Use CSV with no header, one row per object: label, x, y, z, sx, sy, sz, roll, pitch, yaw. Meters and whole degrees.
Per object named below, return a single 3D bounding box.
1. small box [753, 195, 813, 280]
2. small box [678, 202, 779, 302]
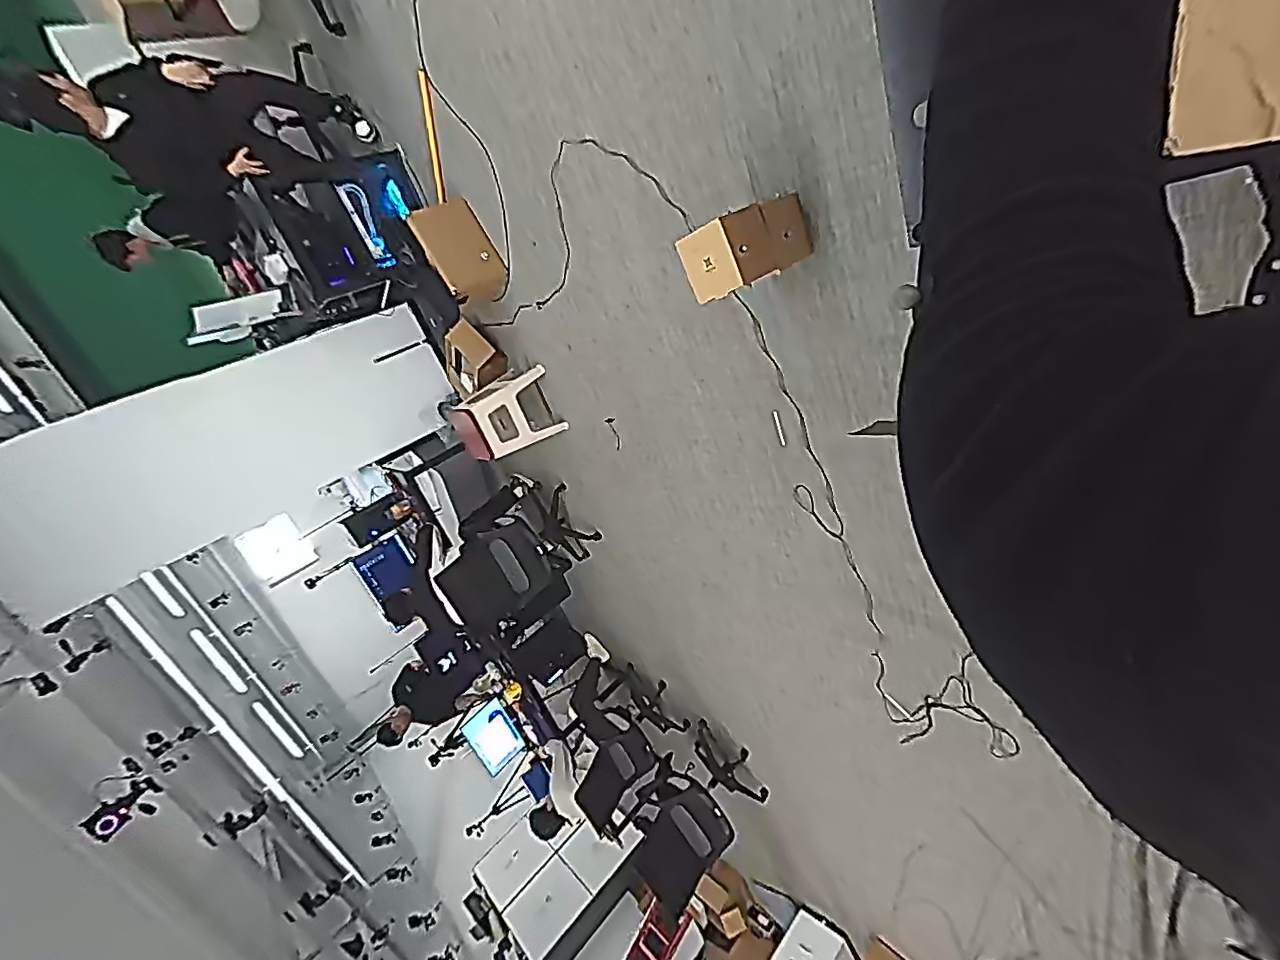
small box,0.353,-0.675,1.511,0.168,0.176,0.179,2,122,53
small box,0.237,-0.600,1.425,0.168,0.176,0.179,-4,115,53
